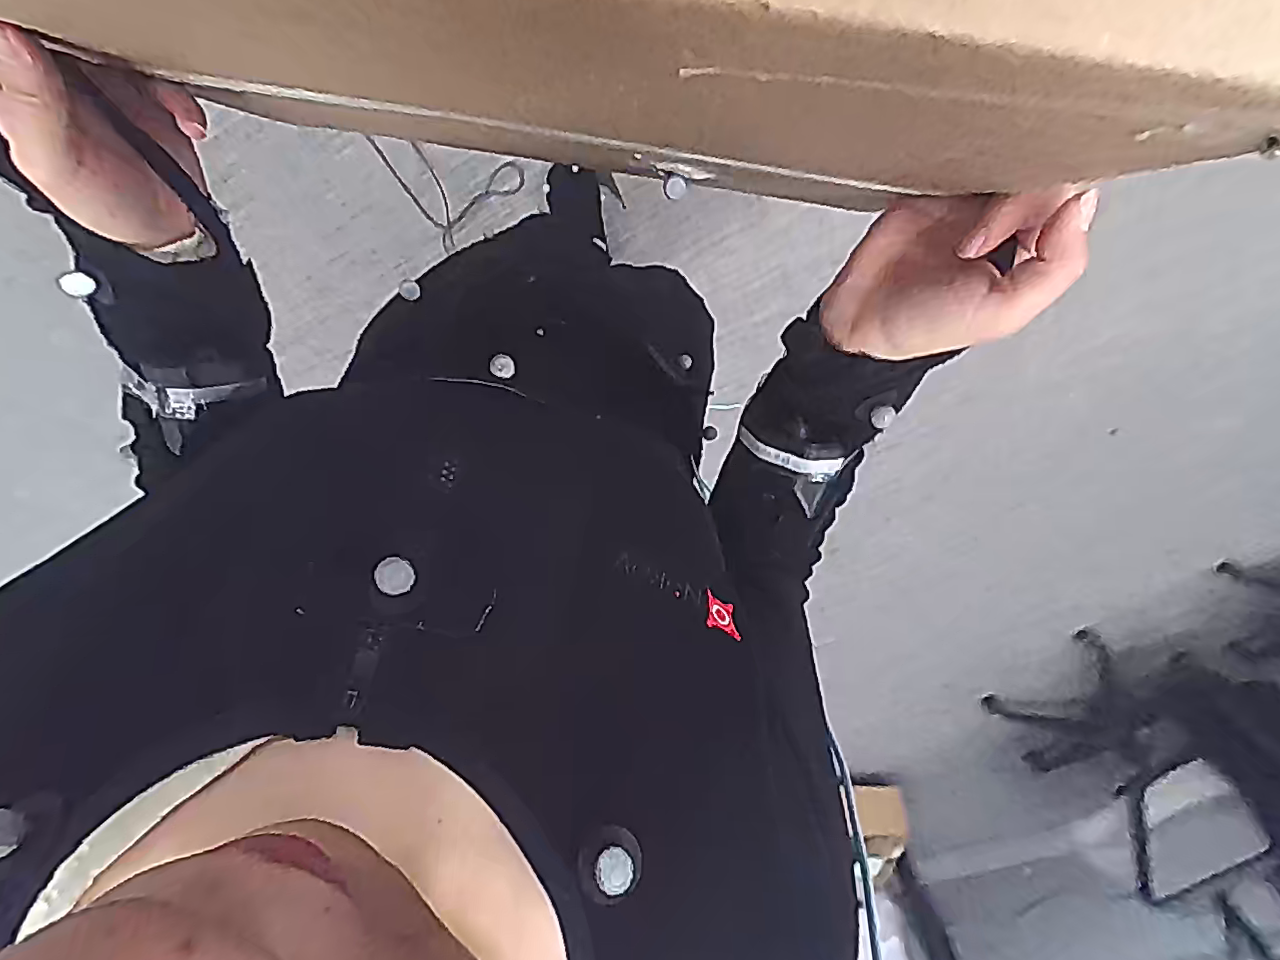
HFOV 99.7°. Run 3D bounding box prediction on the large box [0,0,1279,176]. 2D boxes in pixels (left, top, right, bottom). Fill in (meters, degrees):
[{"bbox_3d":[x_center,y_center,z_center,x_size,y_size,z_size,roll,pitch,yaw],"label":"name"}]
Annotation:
[{"bbox_3d":[-0.031,-0.305,0.164,0.408,0.320,0.320,7,116,0],"label":"large box"}]
